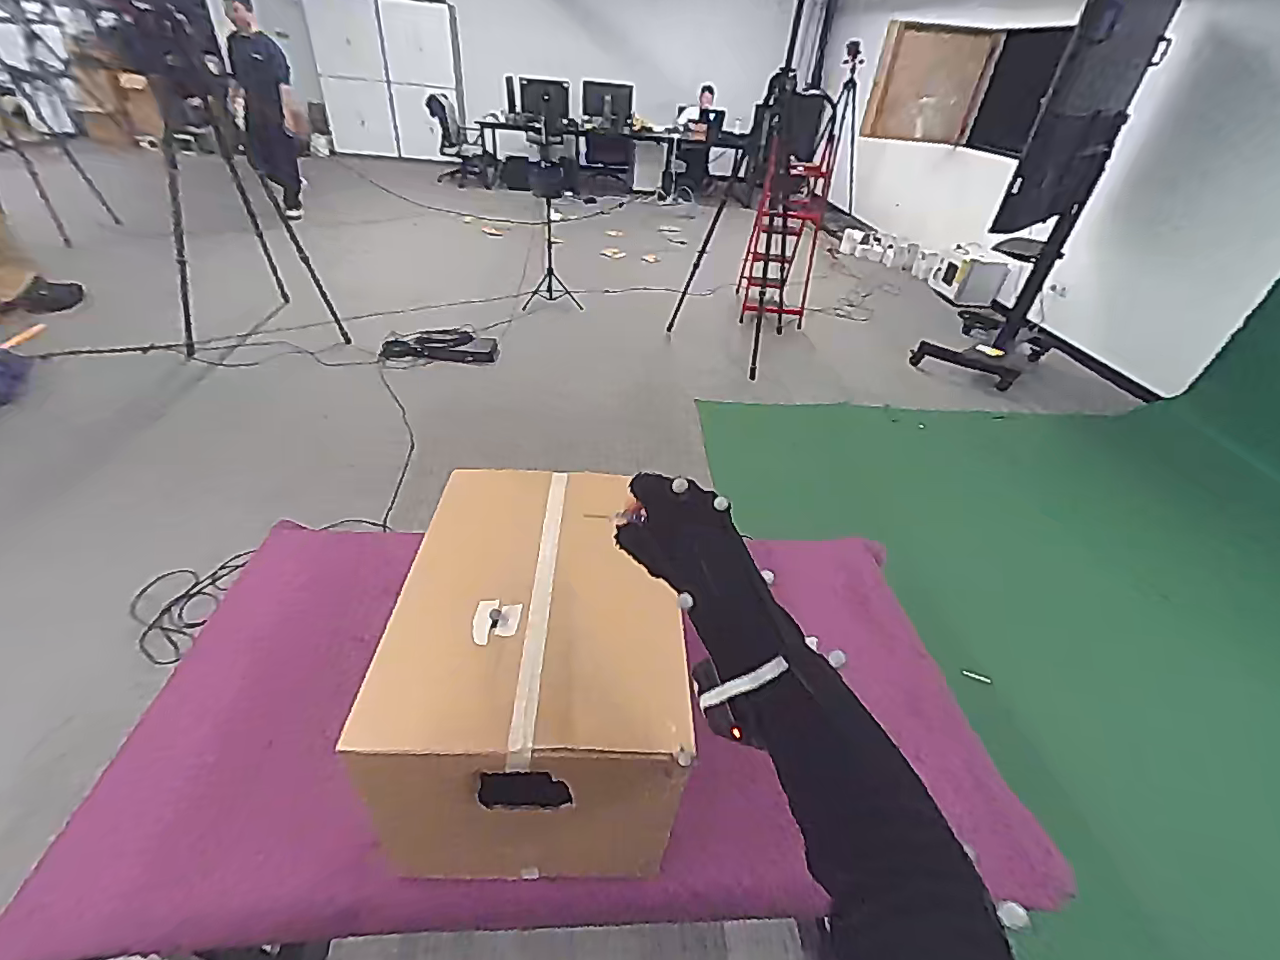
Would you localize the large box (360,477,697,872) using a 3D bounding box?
[{"bbox_3d":[-0.120,0.244,0.733,0.320,0.320,0.408,3,38,-4],"label":"large box"}]
